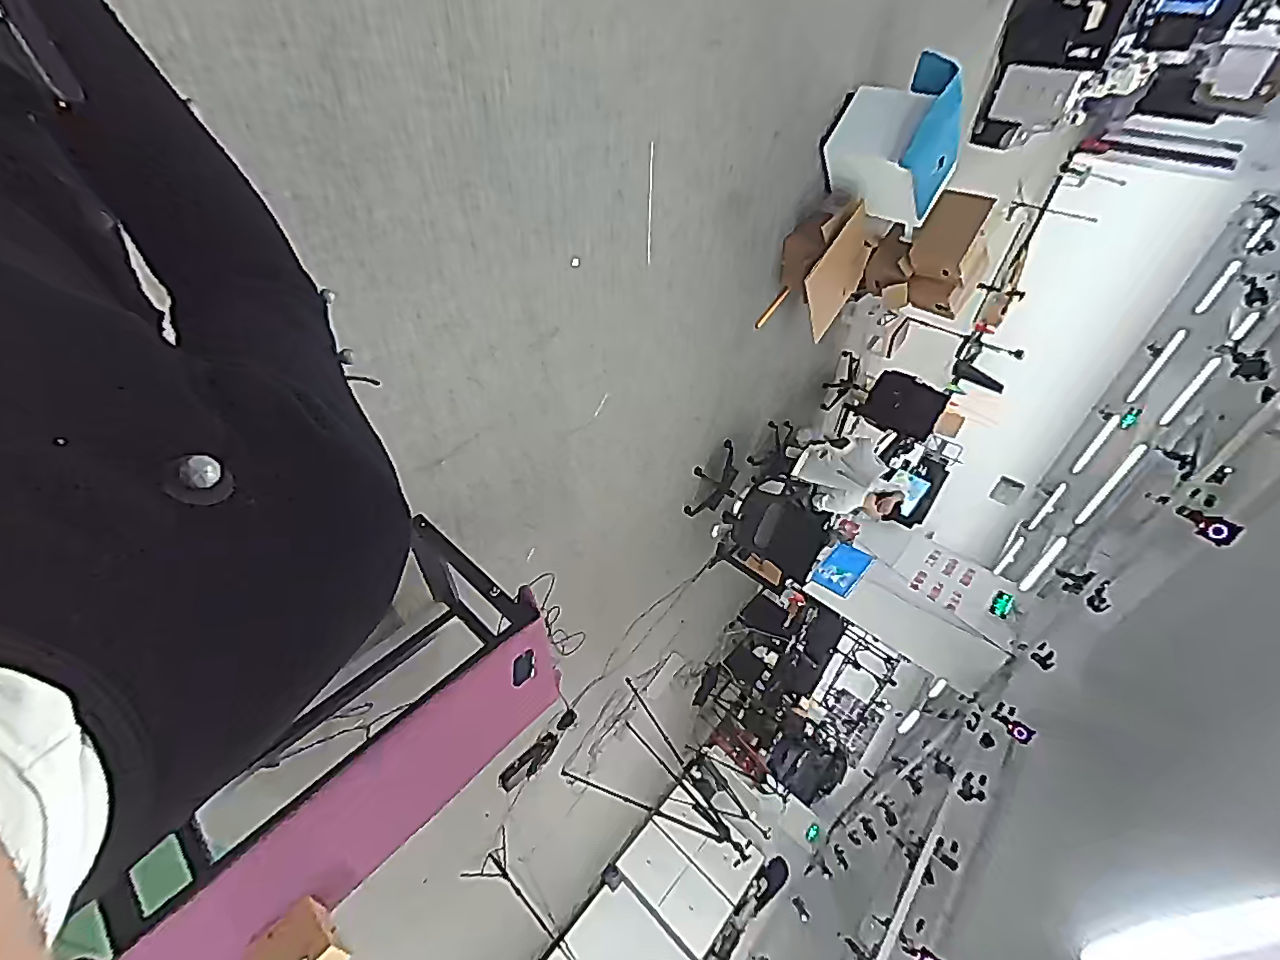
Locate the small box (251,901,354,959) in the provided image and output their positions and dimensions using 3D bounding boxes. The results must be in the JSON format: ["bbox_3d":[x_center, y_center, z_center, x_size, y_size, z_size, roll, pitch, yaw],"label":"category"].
[{"bbox_3d":[-0.943,1.333,1.515,0.168,0.176,0.179,-36,145,-36],"label":"small box"}]
